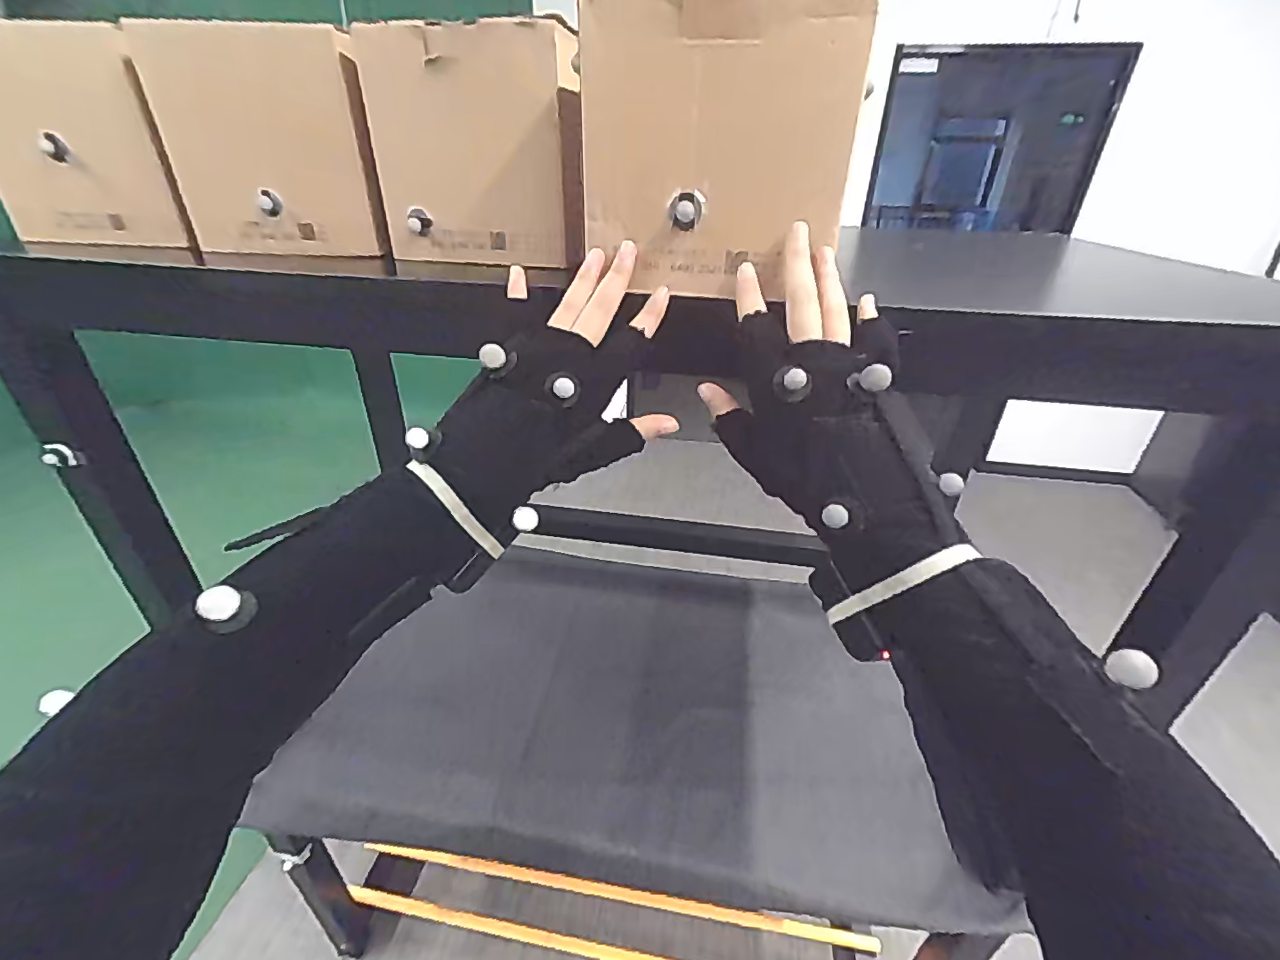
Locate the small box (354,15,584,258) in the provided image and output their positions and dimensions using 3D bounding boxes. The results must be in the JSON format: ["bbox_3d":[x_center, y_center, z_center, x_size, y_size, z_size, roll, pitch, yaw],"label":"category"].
[{"bbox_3d":[-0.129,-0.311,0.518,0.168,0.176,0.179,7,28,10],"label":"small box"}]

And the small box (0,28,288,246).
[{"bbox_3d":[-0.508,-0.343,0.561,0.168,0.176,0.179,4,29,1],"label":"small box"}]

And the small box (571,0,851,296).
[{"bbox_3d":[0.049,-0.249,0.418,0.168,0.176,0.179,6,30,8],"label":"small box"}]
